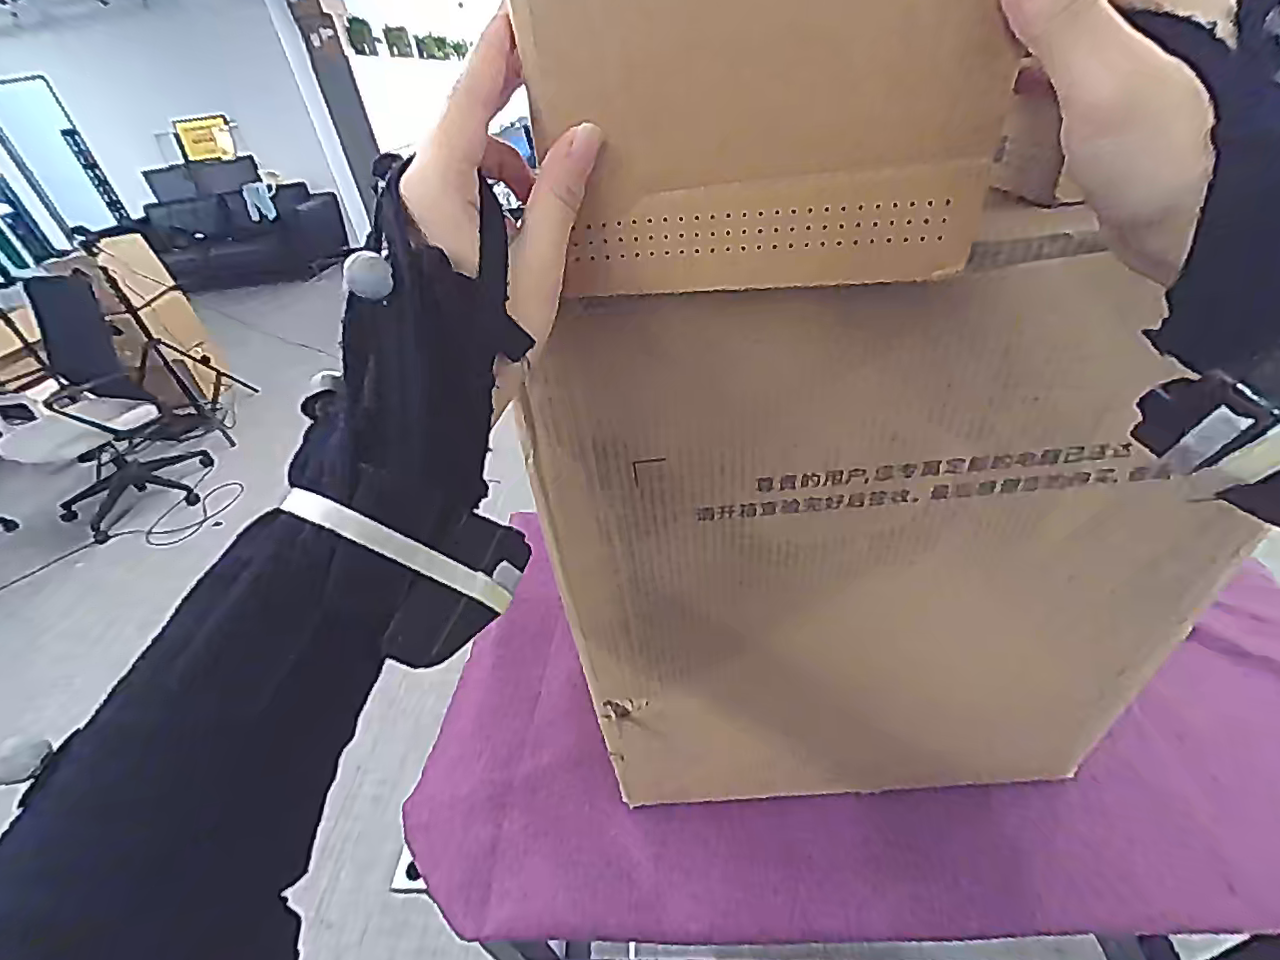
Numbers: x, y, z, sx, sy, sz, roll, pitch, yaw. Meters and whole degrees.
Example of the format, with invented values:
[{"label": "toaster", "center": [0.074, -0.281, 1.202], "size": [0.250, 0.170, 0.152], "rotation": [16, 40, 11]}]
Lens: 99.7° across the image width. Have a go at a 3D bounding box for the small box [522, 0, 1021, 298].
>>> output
[{"label": "small box", "center": [0.049, -0.191, 0.247], "size": [0.179, 0.176, 0.168], "rotation": [0, 39, 6]}]
